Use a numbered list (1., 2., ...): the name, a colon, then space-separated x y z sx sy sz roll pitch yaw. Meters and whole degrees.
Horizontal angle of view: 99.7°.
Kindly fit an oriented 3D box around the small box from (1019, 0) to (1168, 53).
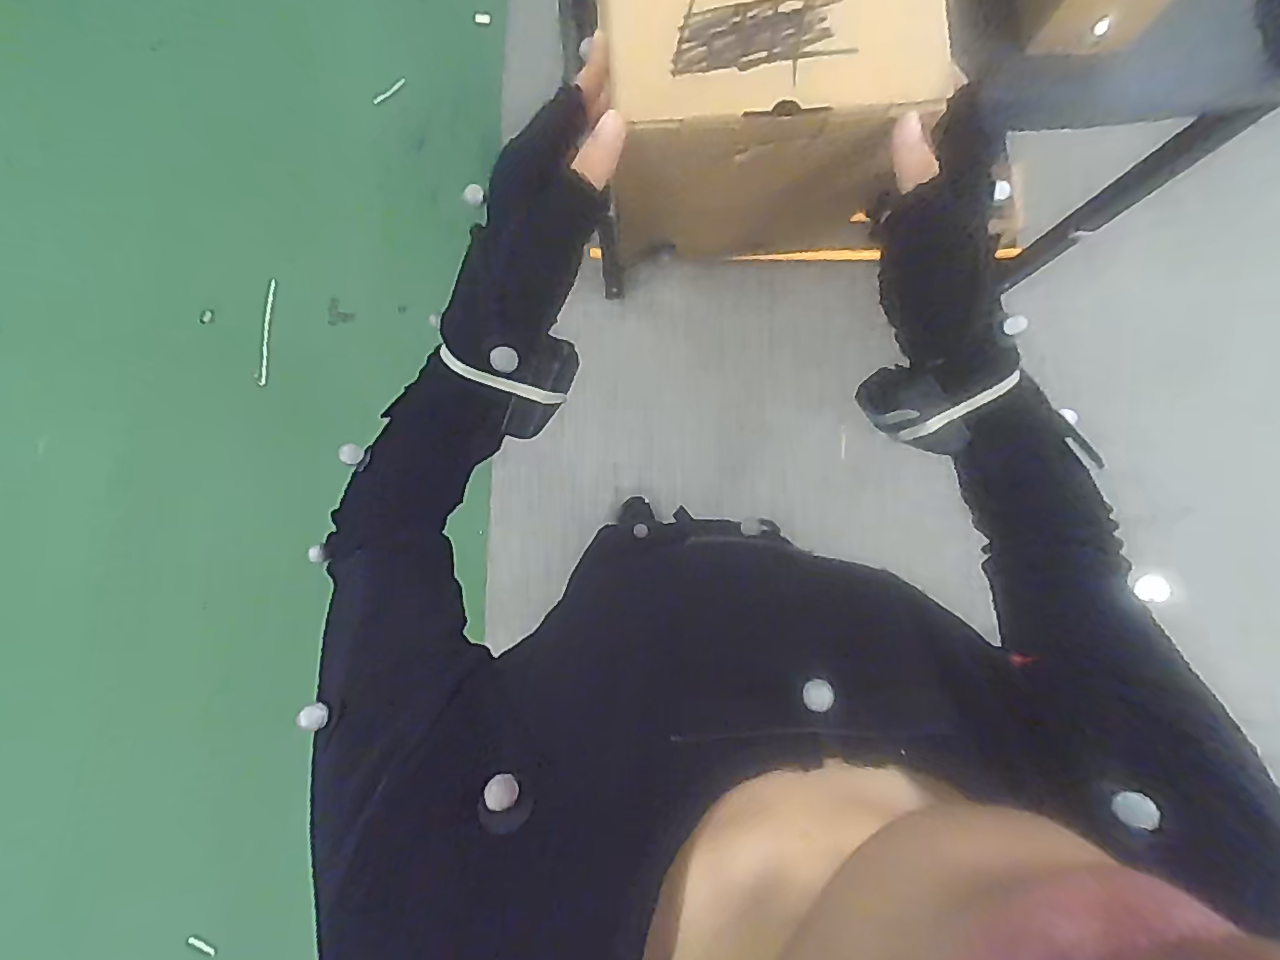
1. small box: 0.693 -0.785 0.800 0.168 0.176 0.179 -2 81 0

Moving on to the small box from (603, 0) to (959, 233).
1. small box: 0.062 -0.272 0.336 0.168 0.176 0.179 -5 88 -3
